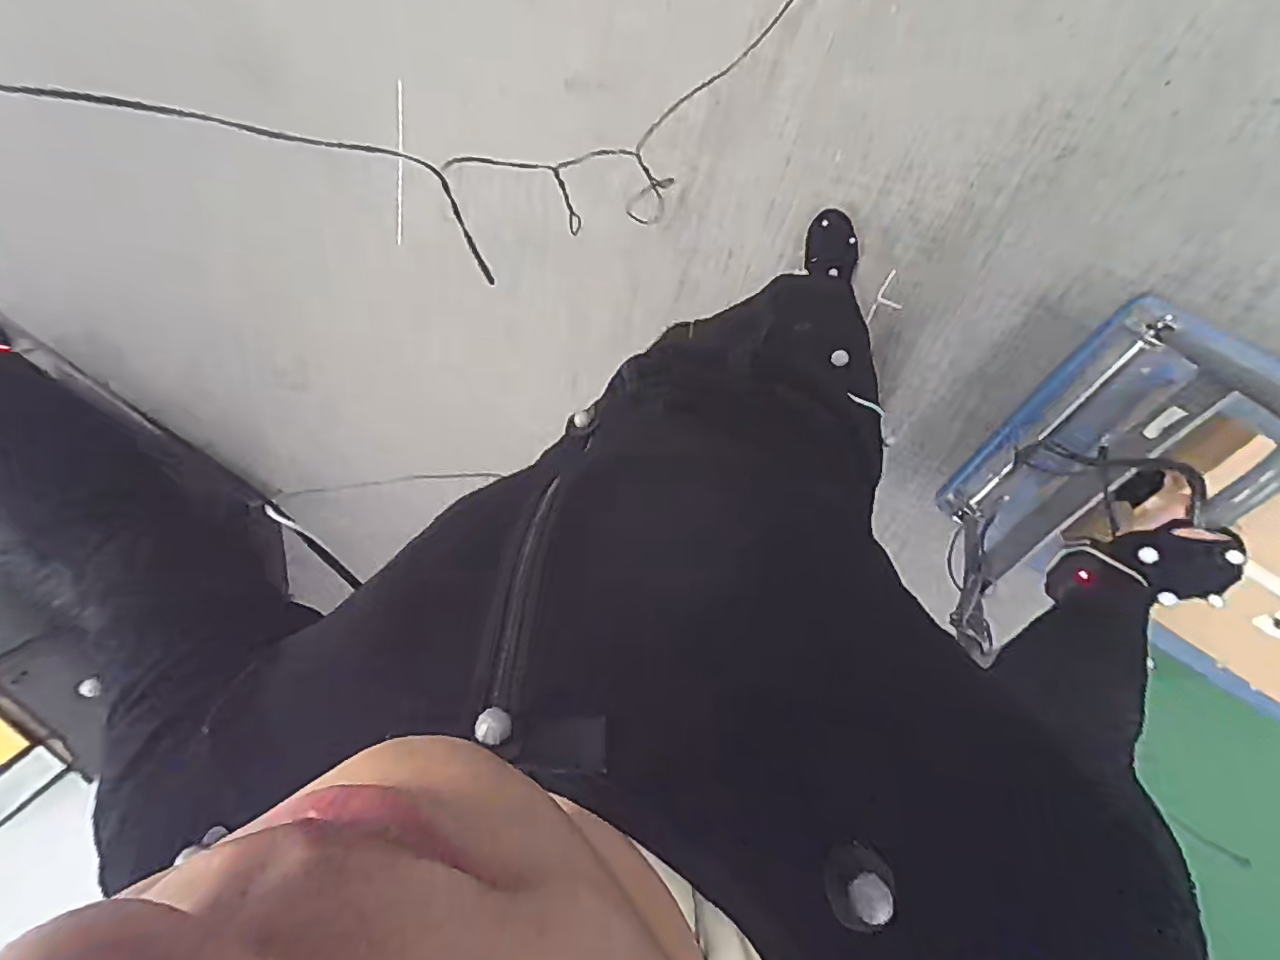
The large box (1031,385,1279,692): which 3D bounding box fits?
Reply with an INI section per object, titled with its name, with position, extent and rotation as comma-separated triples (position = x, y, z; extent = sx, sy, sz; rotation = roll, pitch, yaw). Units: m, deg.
[large box]
position = 1.039, 0.087, 0.990
extent = 0.408, 0.320, 0.320
rotation = 36, 125, 6
